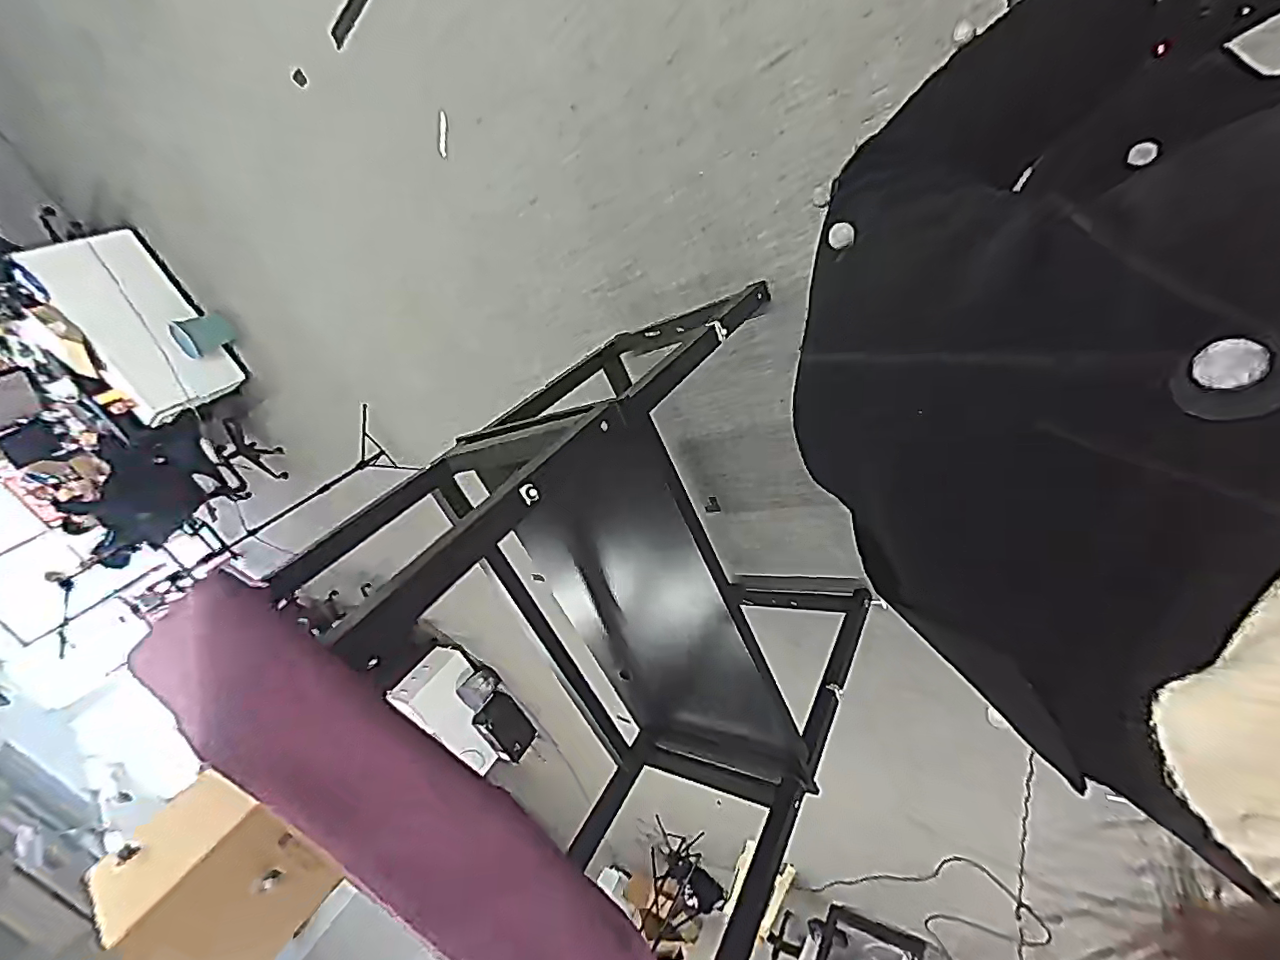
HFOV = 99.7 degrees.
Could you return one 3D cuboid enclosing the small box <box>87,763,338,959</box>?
[{"bbox_3d":[-0.518,0.488,0.670,0.179,0.176,0.168,-2,124,40],"label":"small box"}]
